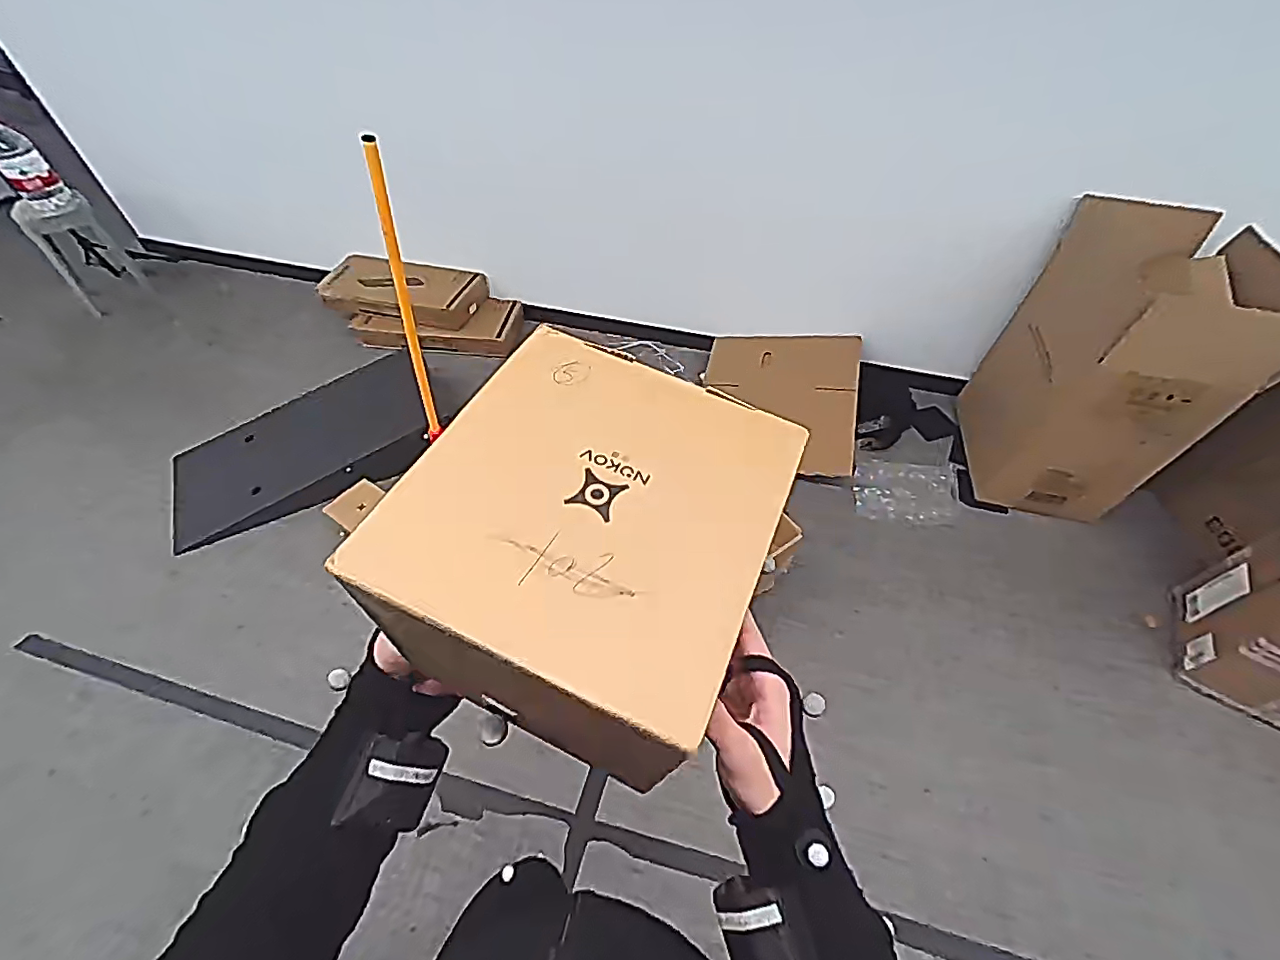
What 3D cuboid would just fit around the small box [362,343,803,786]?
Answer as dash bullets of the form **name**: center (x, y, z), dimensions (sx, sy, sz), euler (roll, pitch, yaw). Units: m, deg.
- **small box**: center (-0.024, 0.055, 0.331), dimensions (0.168, 0.176, 0.179), euler (23, 55, 9)
